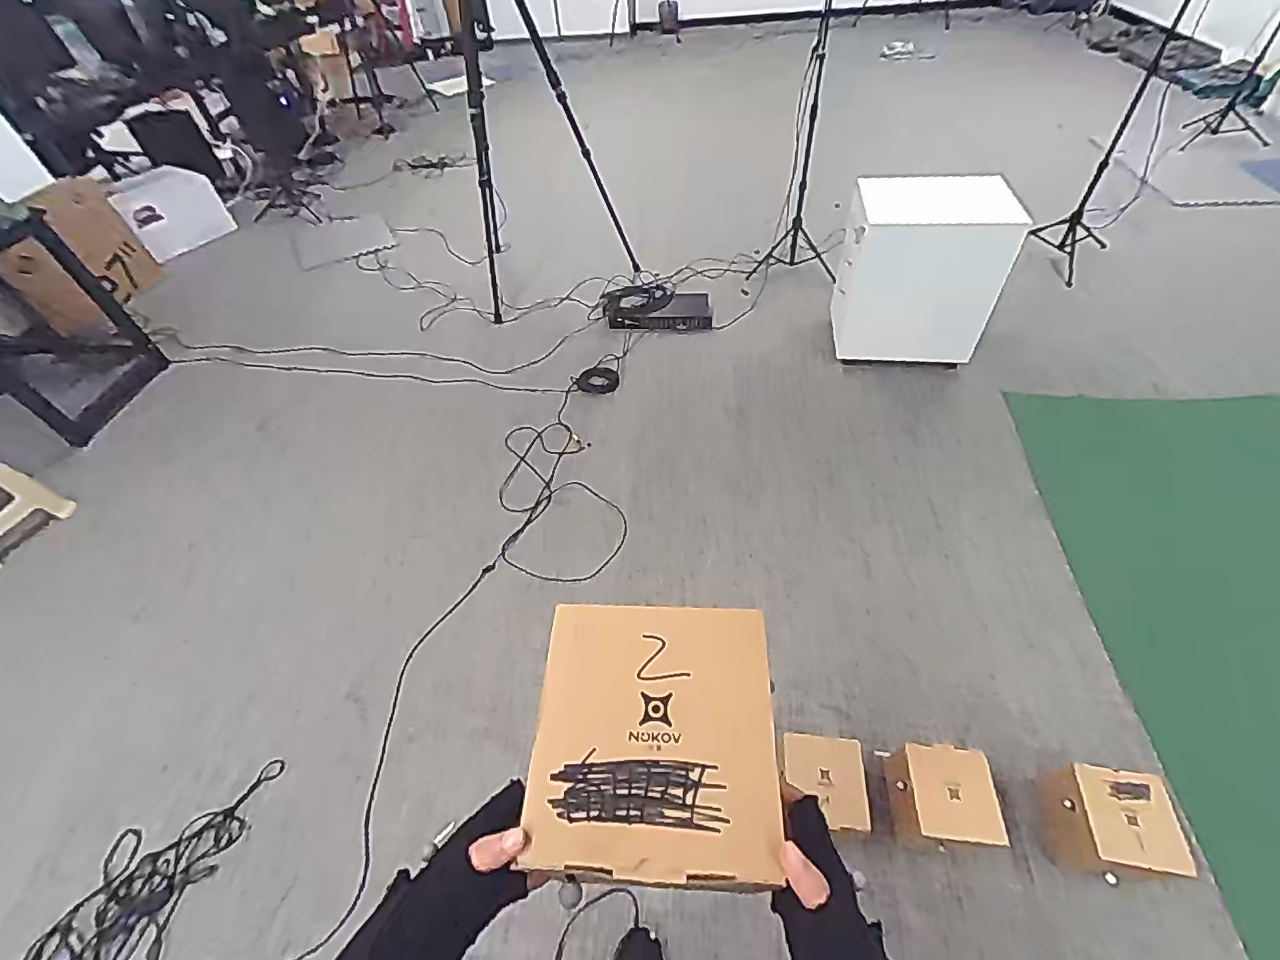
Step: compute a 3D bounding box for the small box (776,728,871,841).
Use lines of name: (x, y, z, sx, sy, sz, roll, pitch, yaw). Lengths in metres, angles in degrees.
small box: (0.397, 0.677, 1.202, 0.168, 0.176, 0.179, 2, 50, 8)

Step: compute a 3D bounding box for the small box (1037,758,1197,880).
small box: (0.973, 0.707, 1.127, 0.168, 0.176, 0.179, 5, 51, 10)

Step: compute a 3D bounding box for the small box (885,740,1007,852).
small box: (0.652, 0.688, 1.174, 0.168, 0.176, 0.179, 2, 48, 7)
